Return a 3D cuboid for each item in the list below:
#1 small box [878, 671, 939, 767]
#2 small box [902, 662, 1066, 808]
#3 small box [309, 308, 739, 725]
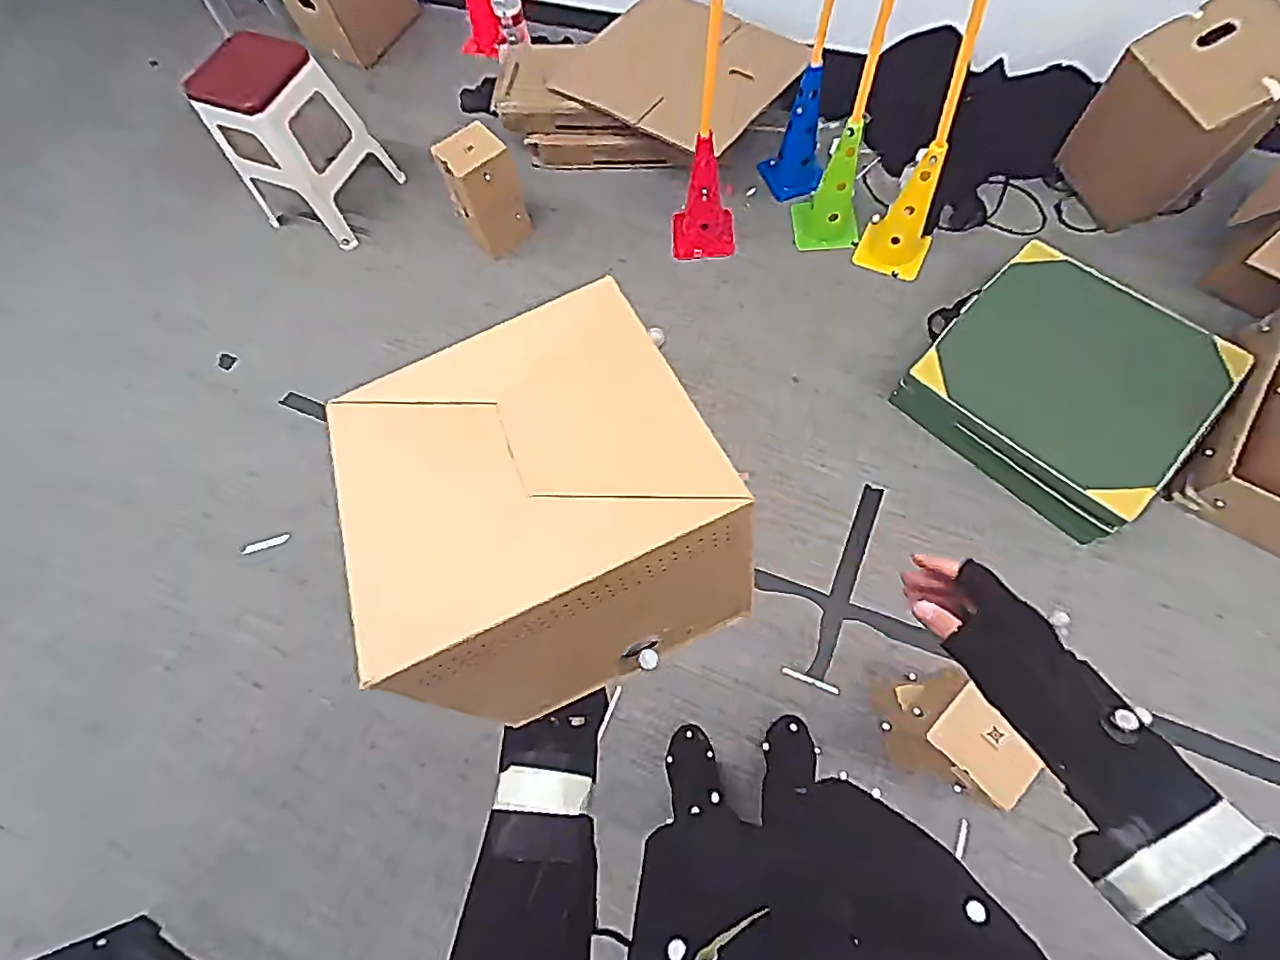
[{"bbox_3d":[0.638,0.510,1.171,0.179,0.176,0.168,-11,69,1],"label":"small box"},{"bbox_3d":[0.623,0.465,1.012,0.179,0.176,0.168,-42,73,-11],"label":"small box"},{"bbox_3d":[-0.056,0.026,0.327,0.179,0.176,0.168,-25,59,-3],"label":"small box"}]
